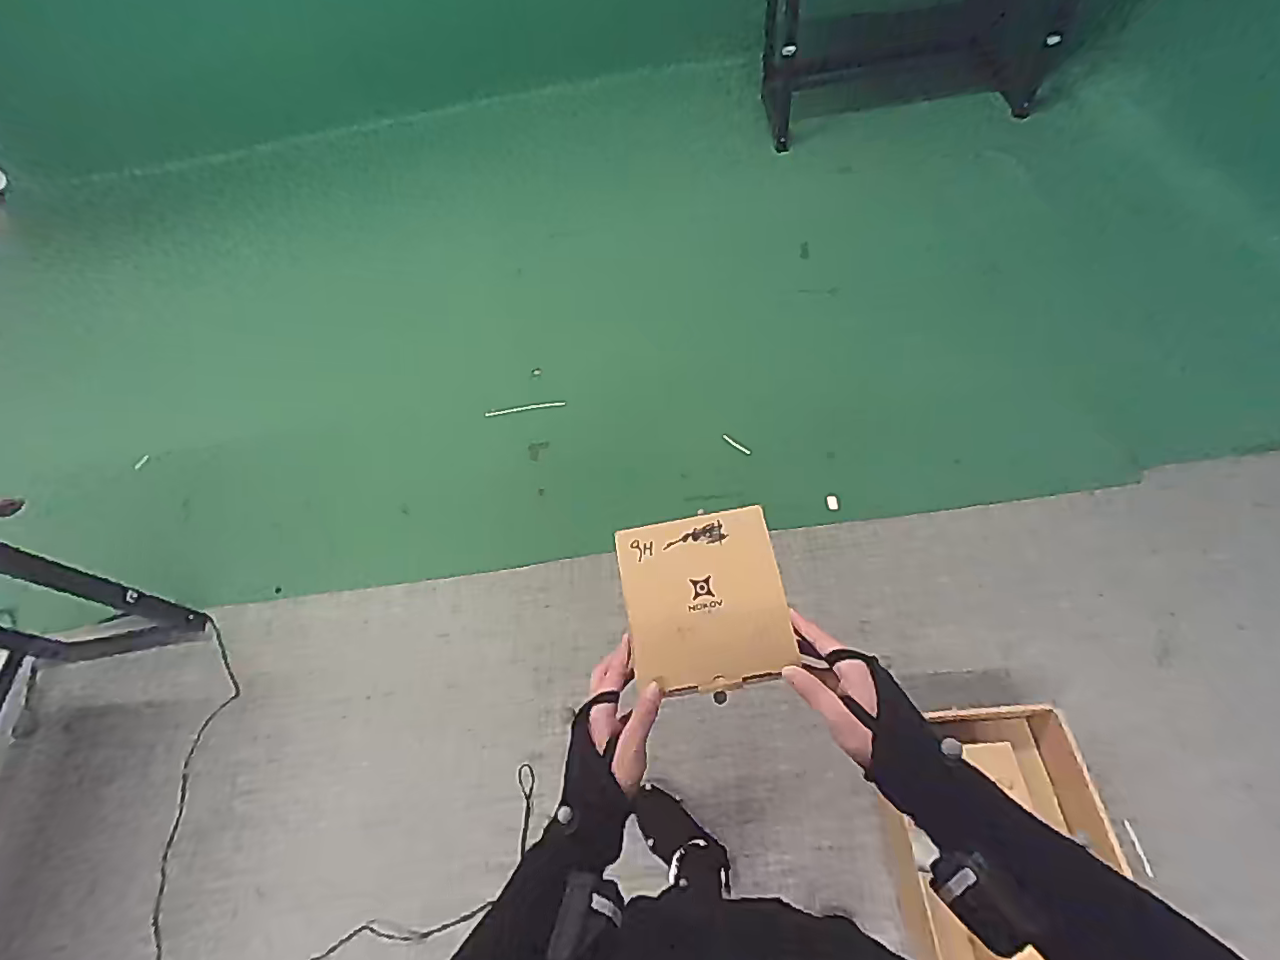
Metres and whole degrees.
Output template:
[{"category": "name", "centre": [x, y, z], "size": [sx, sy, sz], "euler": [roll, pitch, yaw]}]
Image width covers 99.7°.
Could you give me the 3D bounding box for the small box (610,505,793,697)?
[{"category": "small box", "centre": [0.069, 0.147, 0.634], "size": [0.168, 0.176, 0.179], "euler": [-11, 68, 3]}]
